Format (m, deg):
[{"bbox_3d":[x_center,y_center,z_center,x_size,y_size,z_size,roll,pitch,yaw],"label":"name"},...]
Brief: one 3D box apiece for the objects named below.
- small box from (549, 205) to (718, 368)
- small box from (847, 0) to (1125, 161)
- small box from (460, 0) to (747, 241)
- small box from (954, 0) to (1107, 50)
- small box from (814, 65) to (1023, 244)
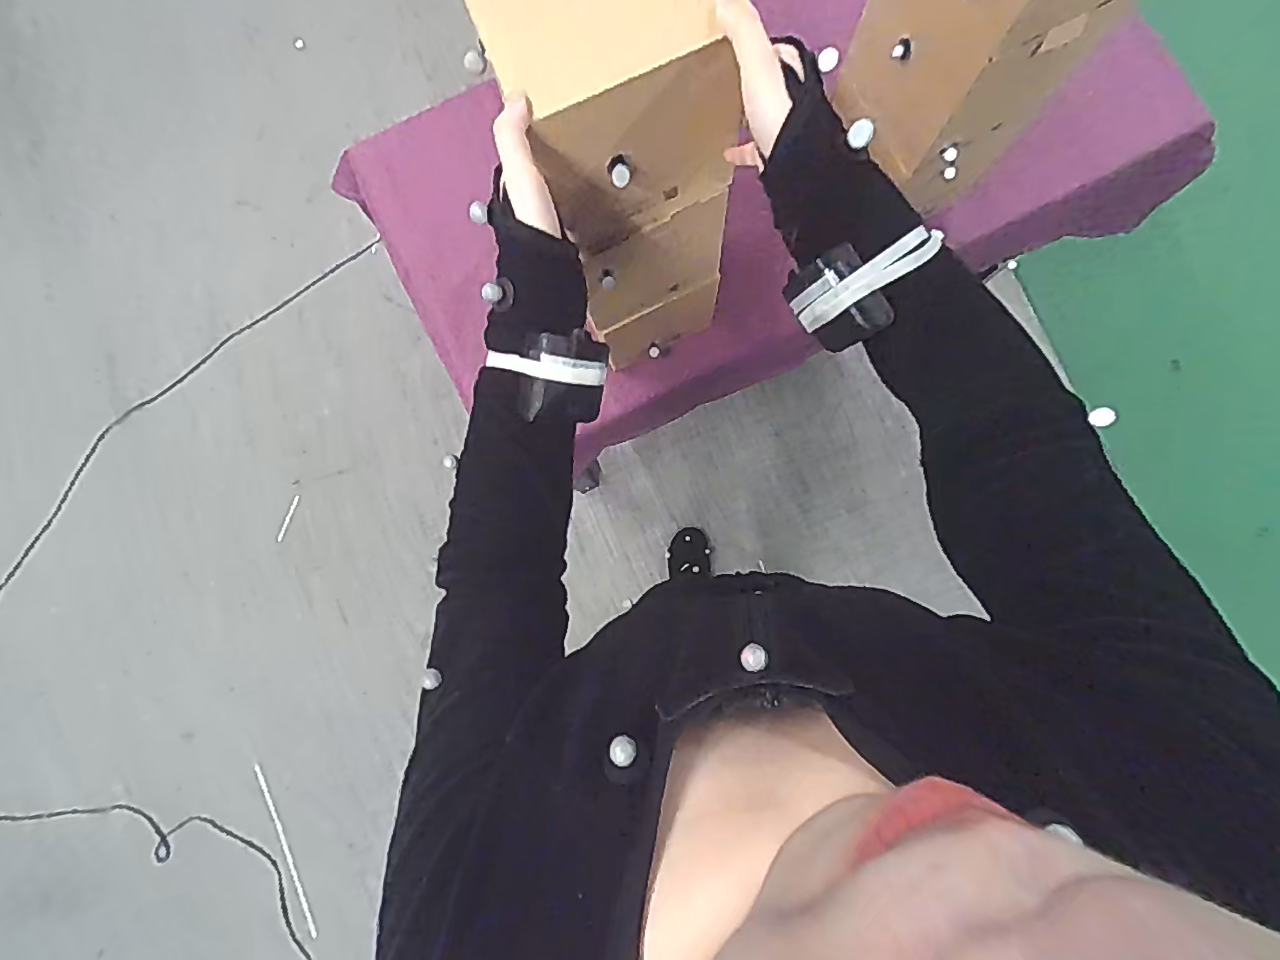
[{"bbox_3d":[-0.007,-0.284,0.760,0.168,0.176,0.179,-25,84,1],"label":"small box"},{"bbox_3d":[0.360,-0.491,0.592,0.168,0.176,0.179,-27,83,0],"label":"small box"},{"bbox_3d":[-0.028,-0.323,0.434,0.168,0.176,0.179,-23,84,2],"label":"small box"},{"bbox_3d":[0.354,-0.503,0.428,0.179,0.176,0.168,-26,84,0],"label":"small box"},{"bbox_3d":[0.369,-0.473,0.756,0.168,0.176,0.179,-26,83,2],"label":"small box"}]
